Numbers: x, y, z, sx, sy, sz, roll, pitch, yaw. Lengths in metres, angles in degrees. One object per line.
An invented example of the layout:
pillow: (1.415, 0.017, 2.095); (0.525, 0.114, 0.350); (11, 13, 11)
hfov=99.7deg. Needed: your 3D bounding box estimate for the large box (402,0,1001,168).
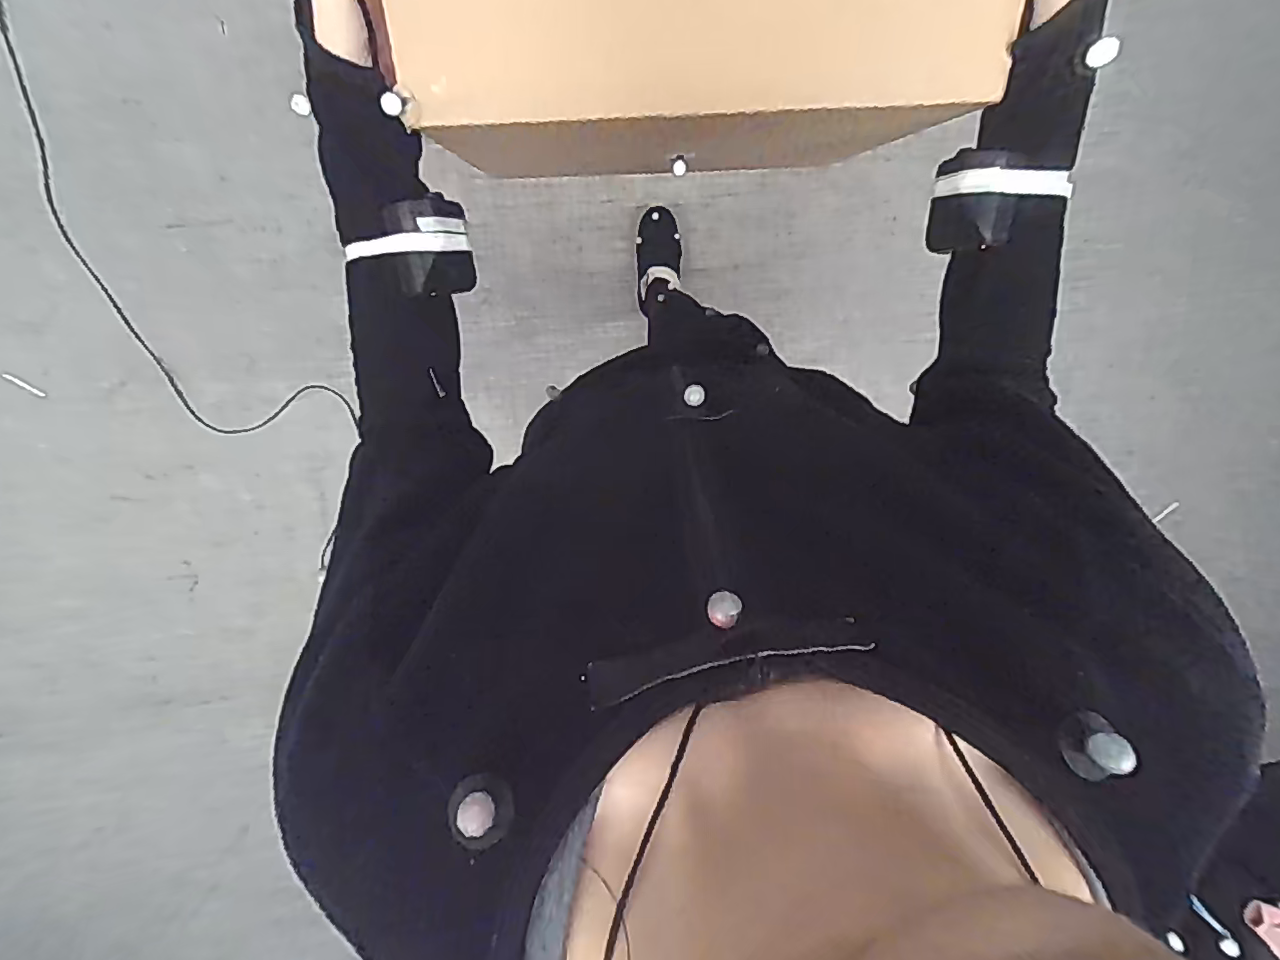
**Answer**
large box: (0.034, -0.461, 0.451); (0.408, 0.320, 0.320); (-4, 113, -2)
